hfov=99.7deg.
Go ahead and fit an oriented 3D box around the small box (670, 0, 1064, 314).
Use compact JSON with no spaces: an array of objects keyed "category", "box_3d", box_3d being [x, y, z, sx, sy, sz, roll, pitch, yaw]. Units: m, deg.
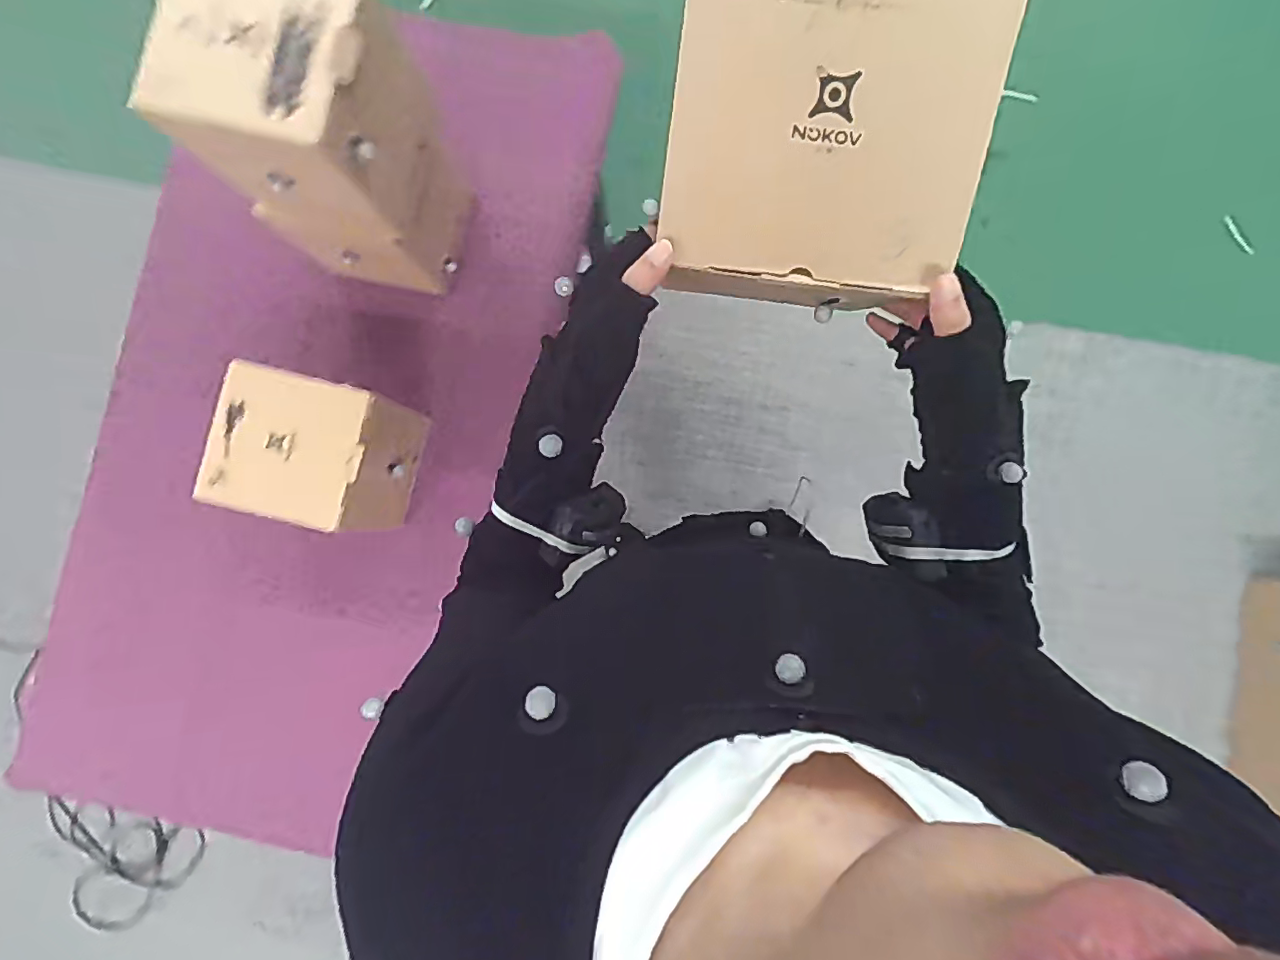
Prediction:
[{"category":"small box","box_3d":[0.115,-0.208,0.348,0.168,0.176,0.179,9,107,1]}]
